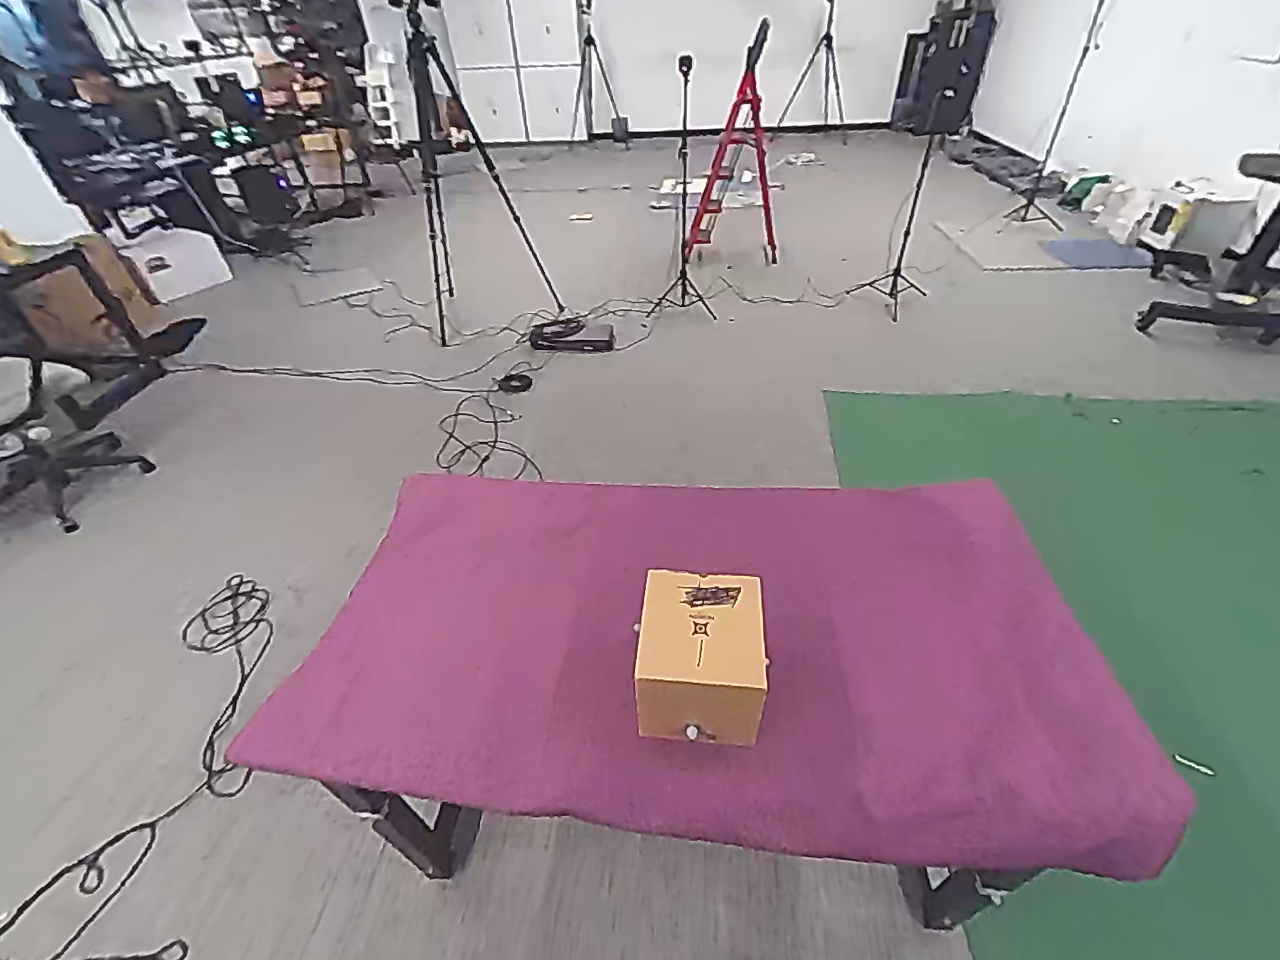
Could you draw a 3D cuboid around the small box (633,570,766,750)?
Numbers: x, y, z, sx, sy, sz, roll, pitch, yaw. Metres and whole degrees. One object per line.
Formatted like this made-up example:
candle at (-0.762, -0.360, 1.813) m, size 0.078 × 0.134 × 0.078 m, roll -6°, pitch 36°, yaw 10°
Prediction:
small box at (0.084, 0.253, 0.770) m, size 0.168 × 0.176 × 0.179 m, roll 2°, pitch 41°, yaw 7°
